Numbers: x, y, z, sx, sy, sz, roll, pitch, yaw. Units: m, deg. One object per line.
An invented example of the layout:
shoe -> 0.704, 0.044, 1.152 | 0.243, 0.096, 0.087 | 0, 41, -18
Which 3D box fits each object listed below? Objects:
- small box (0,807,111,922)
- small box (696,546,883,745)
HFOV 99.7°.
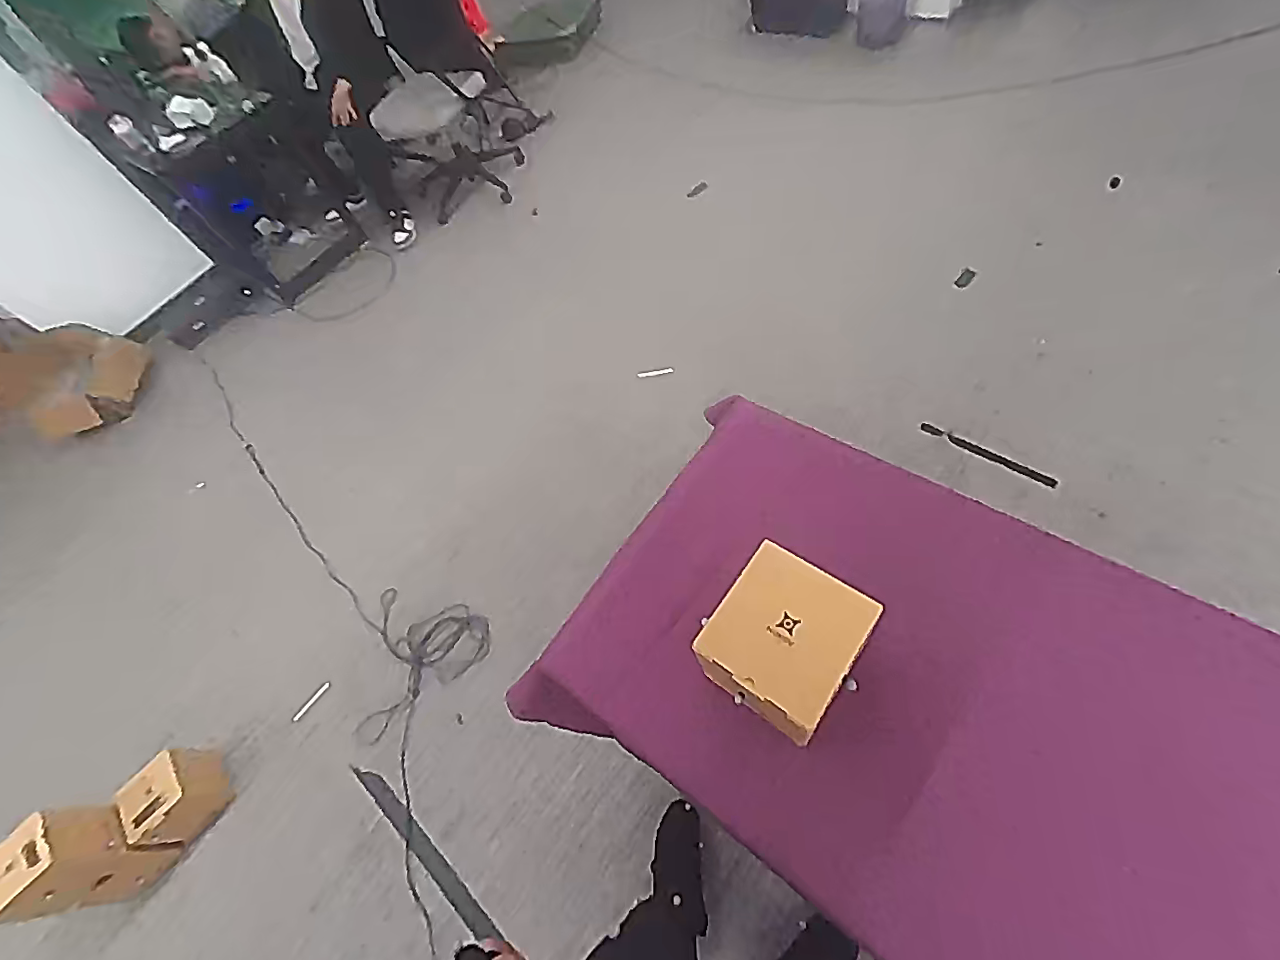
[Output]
small box -> -1.496, 0.959, 1.364 | 0.168, 0.176, 0.179 | 36, 75, 29
small box -> 0.195, 0.225, 0.727 | 0.168, 0.176, 0.179 | 31, 71, 27
